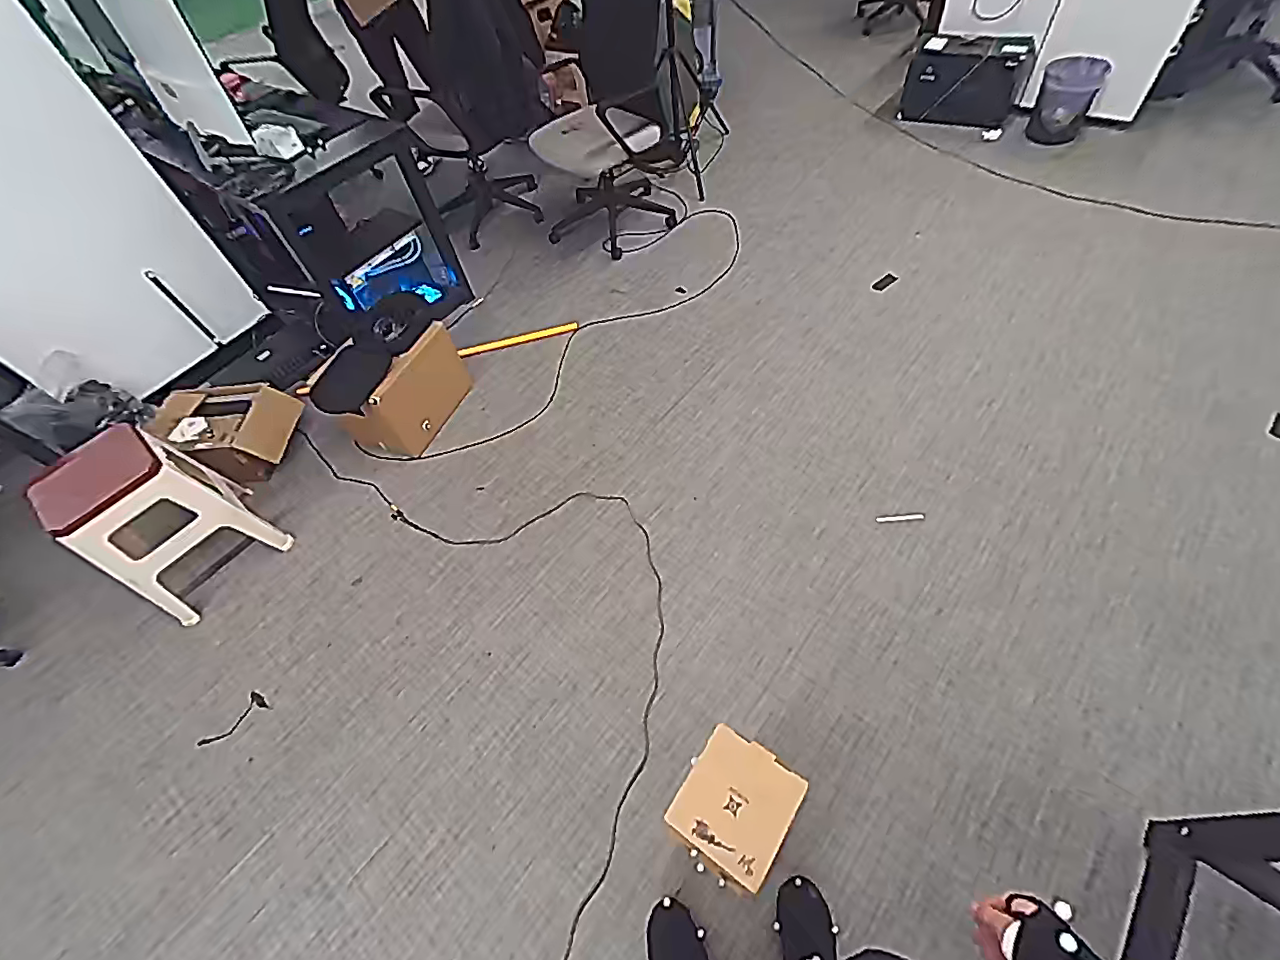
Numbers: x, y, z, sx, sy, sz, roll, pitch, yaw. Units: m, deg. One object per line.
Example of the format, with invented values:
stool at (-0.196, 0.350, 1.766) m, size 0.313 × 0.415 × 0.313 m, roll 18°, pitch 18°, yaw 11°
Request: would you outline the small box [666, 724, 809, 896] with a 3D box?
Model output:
small box at (0.160, 0.553, 0.910) m, size 0.168 × 0.176 × 0.179 m, roll 27°, pitch 62°, yaw 25°
